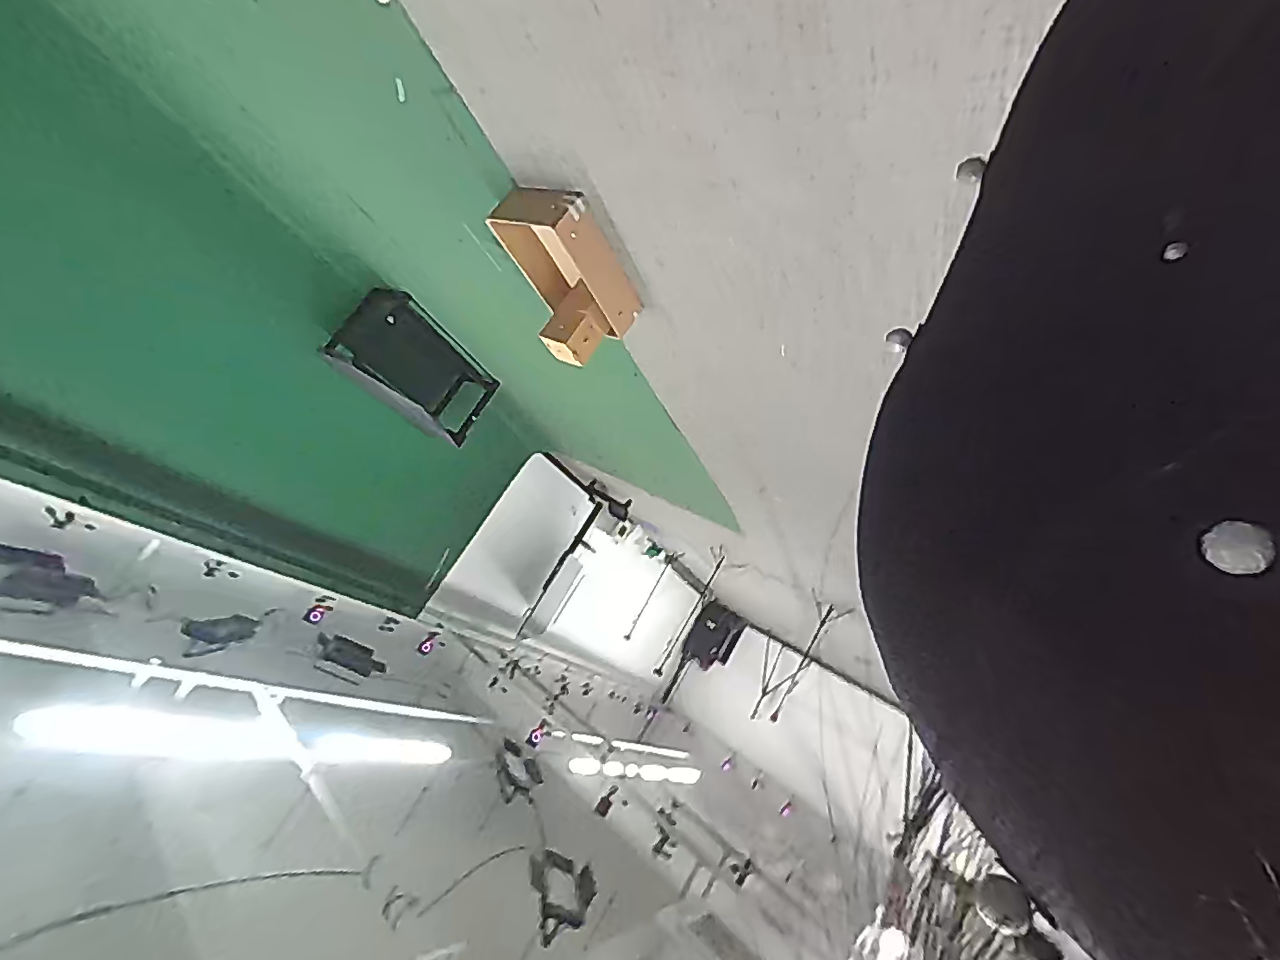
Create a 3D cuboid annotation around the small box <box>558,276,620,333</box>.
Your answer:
[{"bbox_3d":[-0.219,-0.776,2.378,0.179,0.176,0.168,21,164,36],"label":"small box"}]

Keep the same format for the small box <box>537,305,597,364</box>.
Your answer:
[{"bbox_3d":[-0.308,-0.639,2.358,0.179,0.176,0.168,23,165,31],"label":"small box"}]
